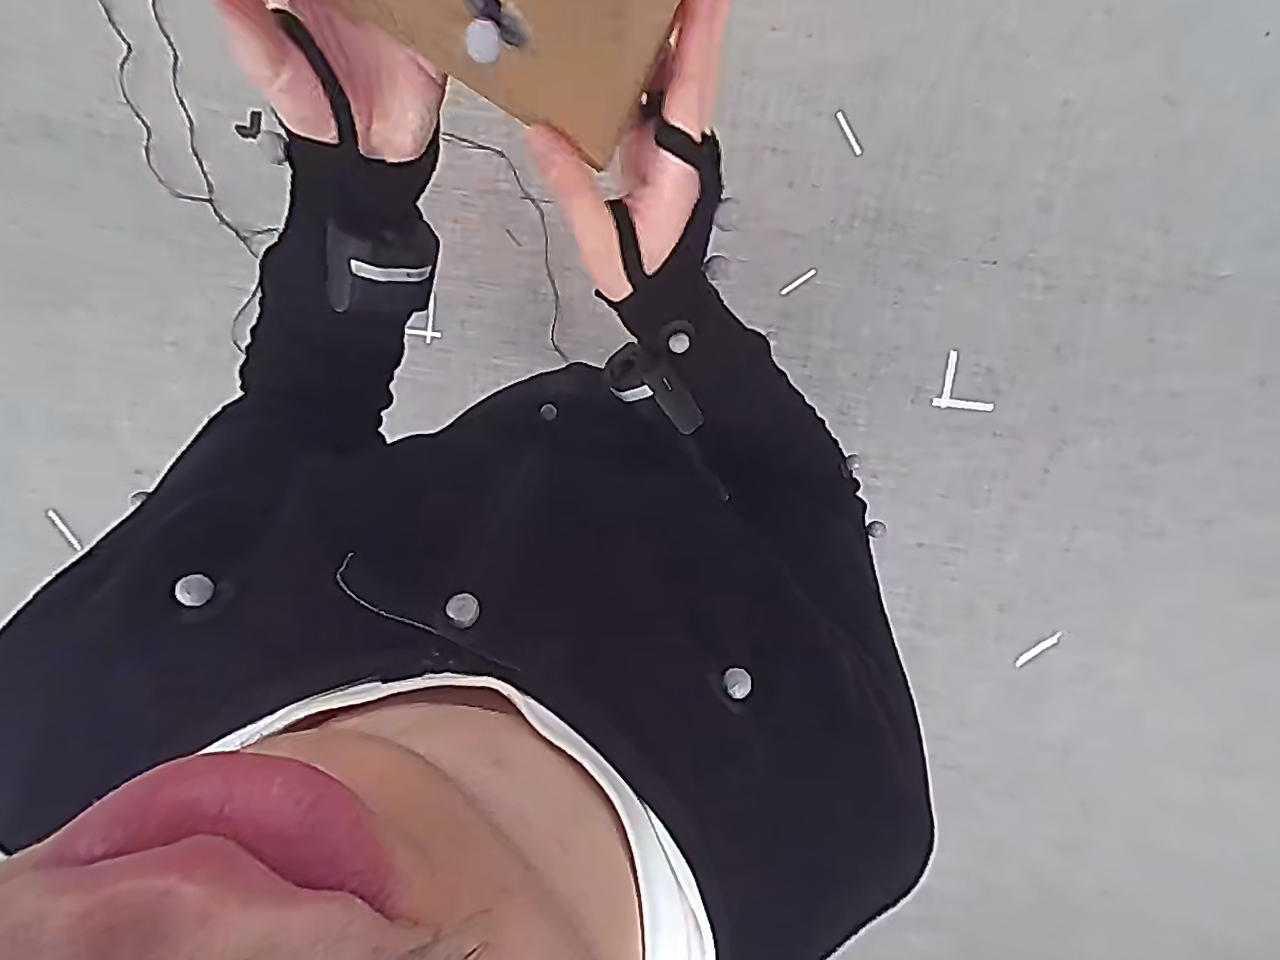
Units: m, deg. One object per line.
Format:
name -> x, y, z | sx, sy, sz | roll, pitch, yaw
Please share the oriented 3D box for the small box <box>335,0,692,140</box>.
small box -> -0.041, -0.244, 0.166 | 0.179, 0.176, 0.168 | 26, 98, -12
